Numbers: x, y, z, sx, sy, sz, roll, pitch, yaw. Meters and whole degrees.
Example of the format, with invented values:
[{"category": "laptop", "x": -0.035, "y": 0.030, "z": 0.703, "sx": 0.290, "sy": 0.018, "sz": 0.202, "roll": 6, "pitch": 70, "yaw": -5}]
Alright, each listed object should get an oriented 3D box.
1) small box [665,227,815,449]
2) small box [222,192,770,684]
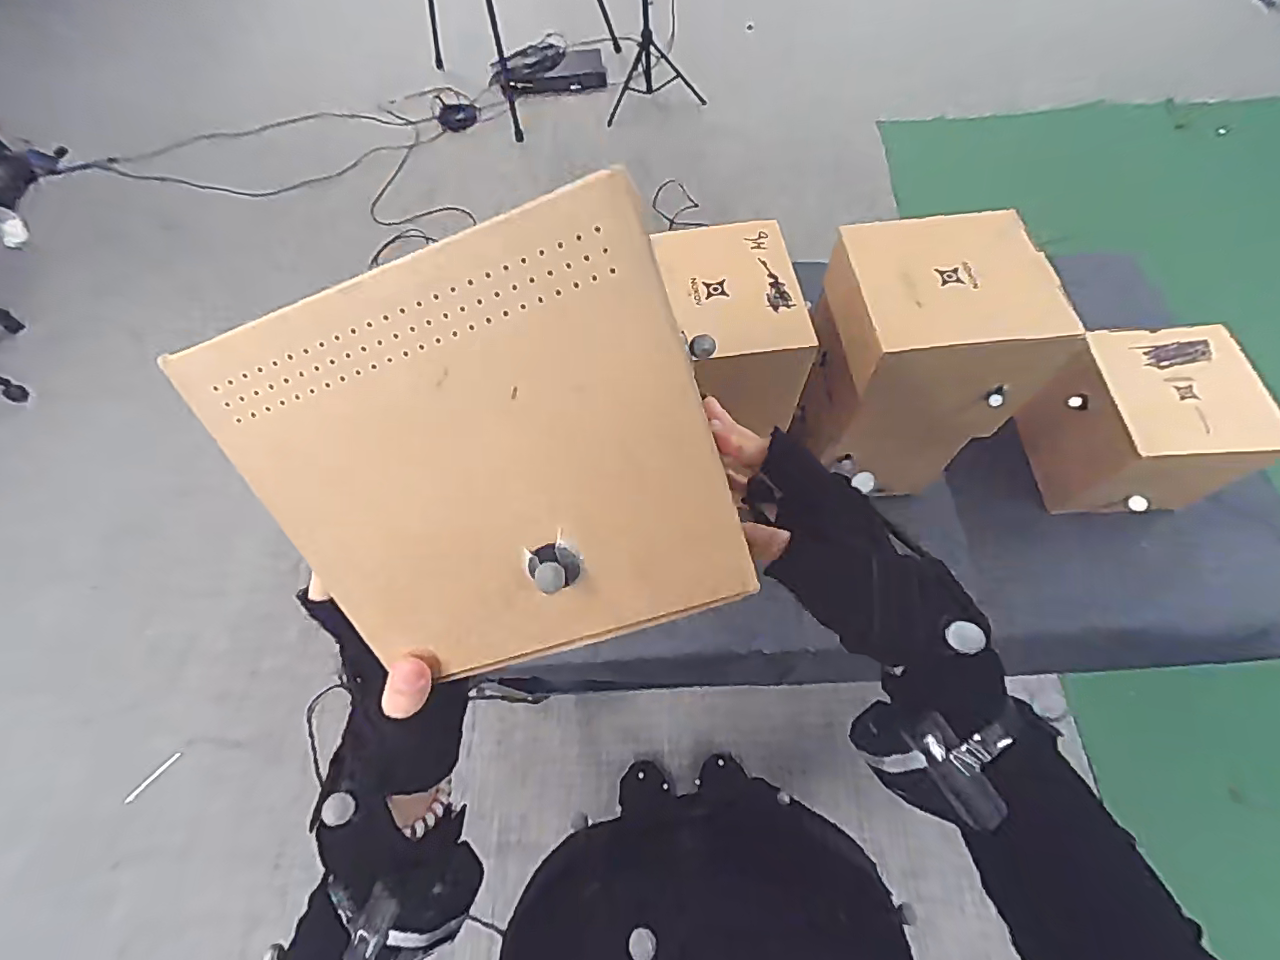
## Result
[{"category": "small box", "x": 0.071, "y": -0.139, "z": 0.590, "sx": 0.179, "sy": 0.176, "sz": 0.168, "roll": -8, "pitch": 64, "yaw": 1}, {"category": "small box", "x": -0.052, "y": -0.032, "z": 0.284, "sx": 0.179, "sy": 0.176, "sz": 0.168, "roll": -18, "pitch": 23, "yaw": 8}]
